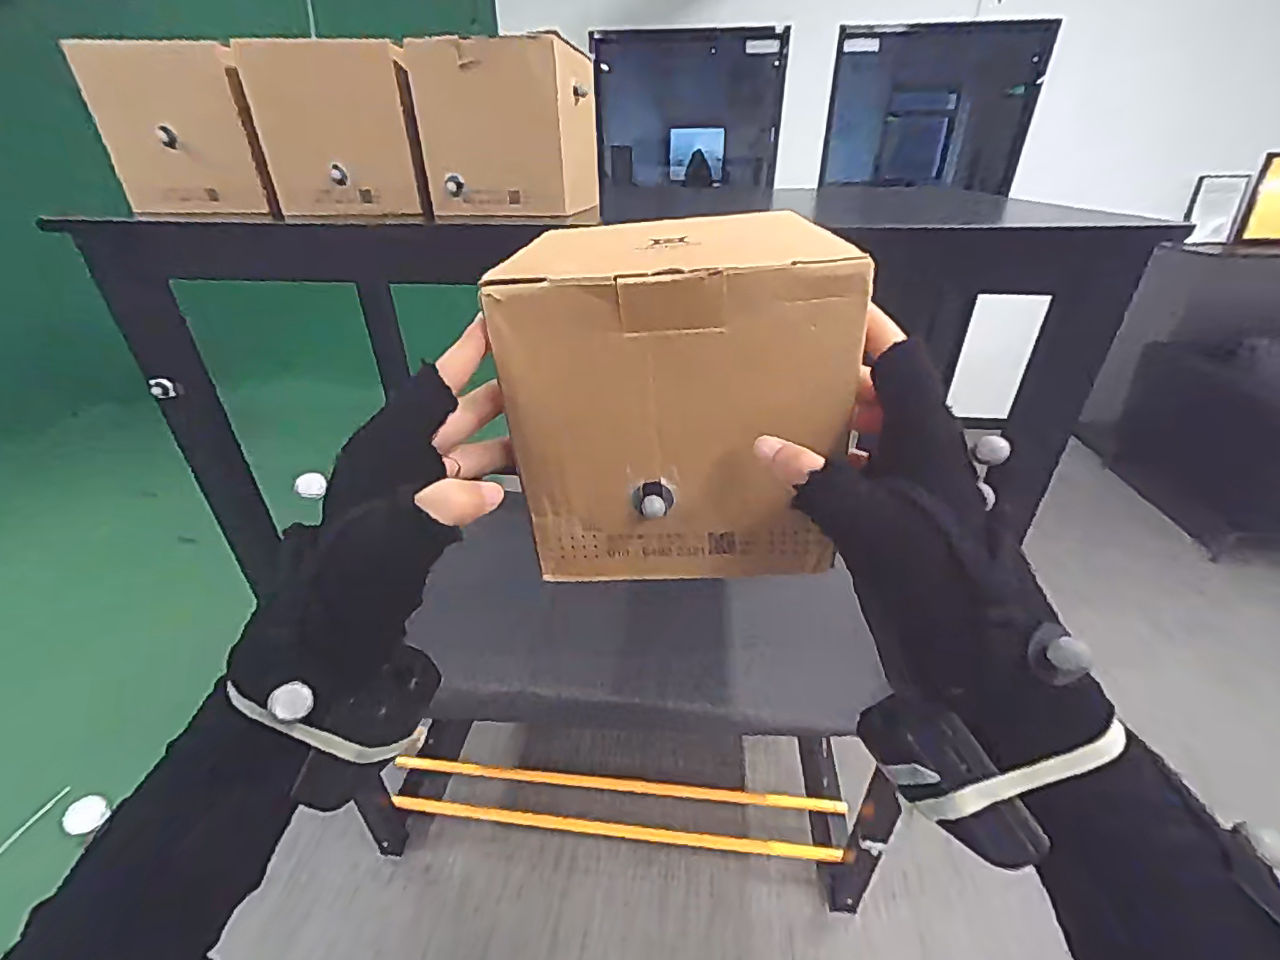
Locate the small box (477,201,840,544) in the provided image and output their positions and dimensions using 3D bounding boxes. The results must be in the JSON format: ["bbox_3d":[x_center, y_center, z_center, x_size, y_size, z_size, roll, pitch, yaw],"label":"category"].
[{"bbox_3d":[0.015,-0.076,0.350,0.168,0.176,0.179,-3,31,4],"label":"small box"}]

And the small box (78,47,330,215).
[{"bbox_3d":[-0.539,-0.444,0.705,0.168,0.176,0.179,1,30,-1],"label":"small box"}]

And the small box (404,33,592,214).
[{"bbox_3d":[-0.158,-0.429,0.674,0.168,0.176,0.179,4,30,8],"label":"small box"}]
